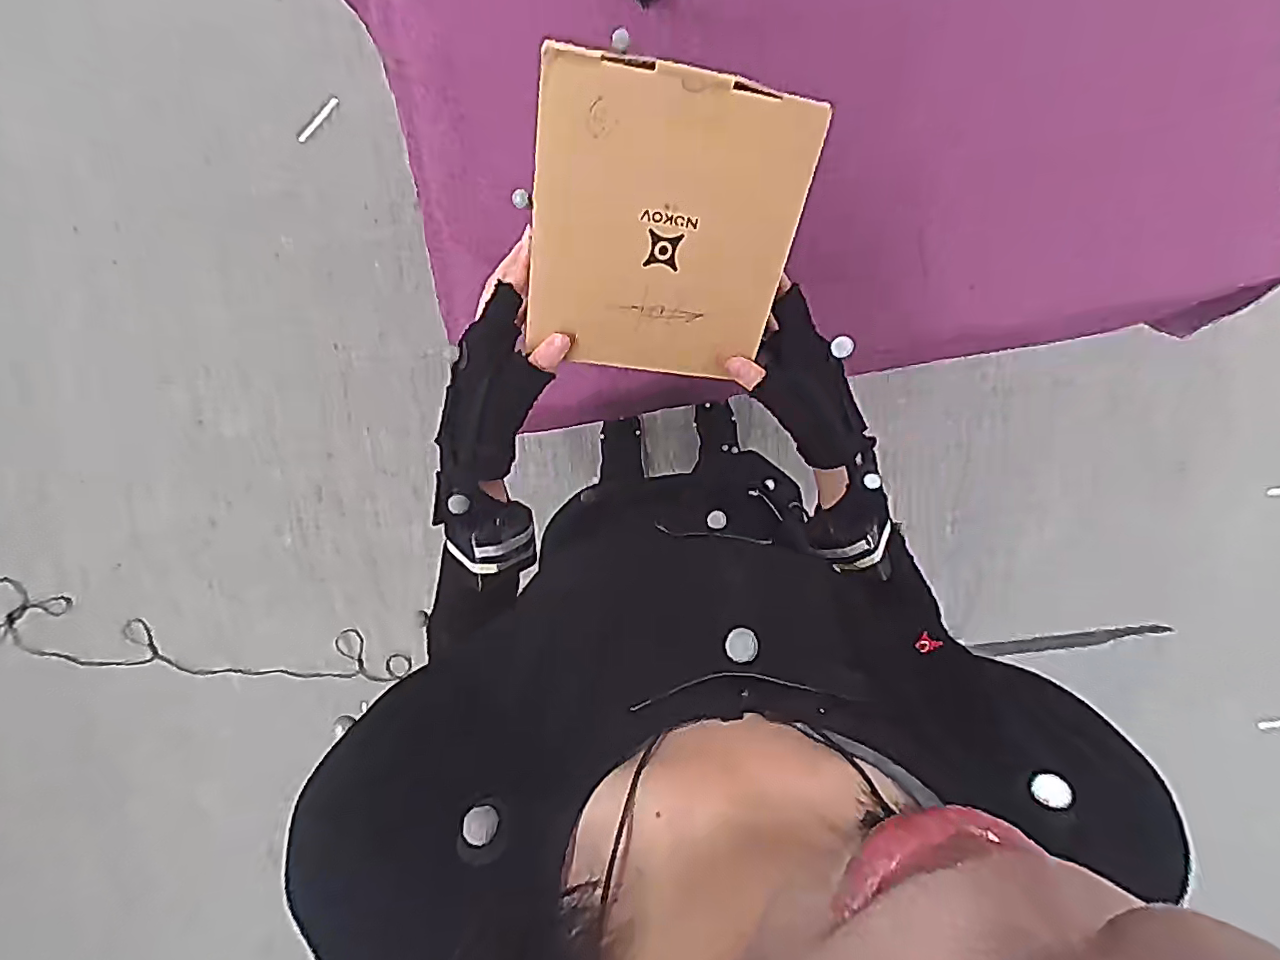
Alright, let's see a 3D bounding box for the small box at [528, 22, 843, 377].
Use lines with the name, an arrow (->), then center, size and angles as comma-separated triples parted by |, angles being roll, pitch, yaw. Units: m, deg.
small box -> 0.010, -0.199, 0.396 | 0.168, 0.176, 0.179 | 5, 127, -11
